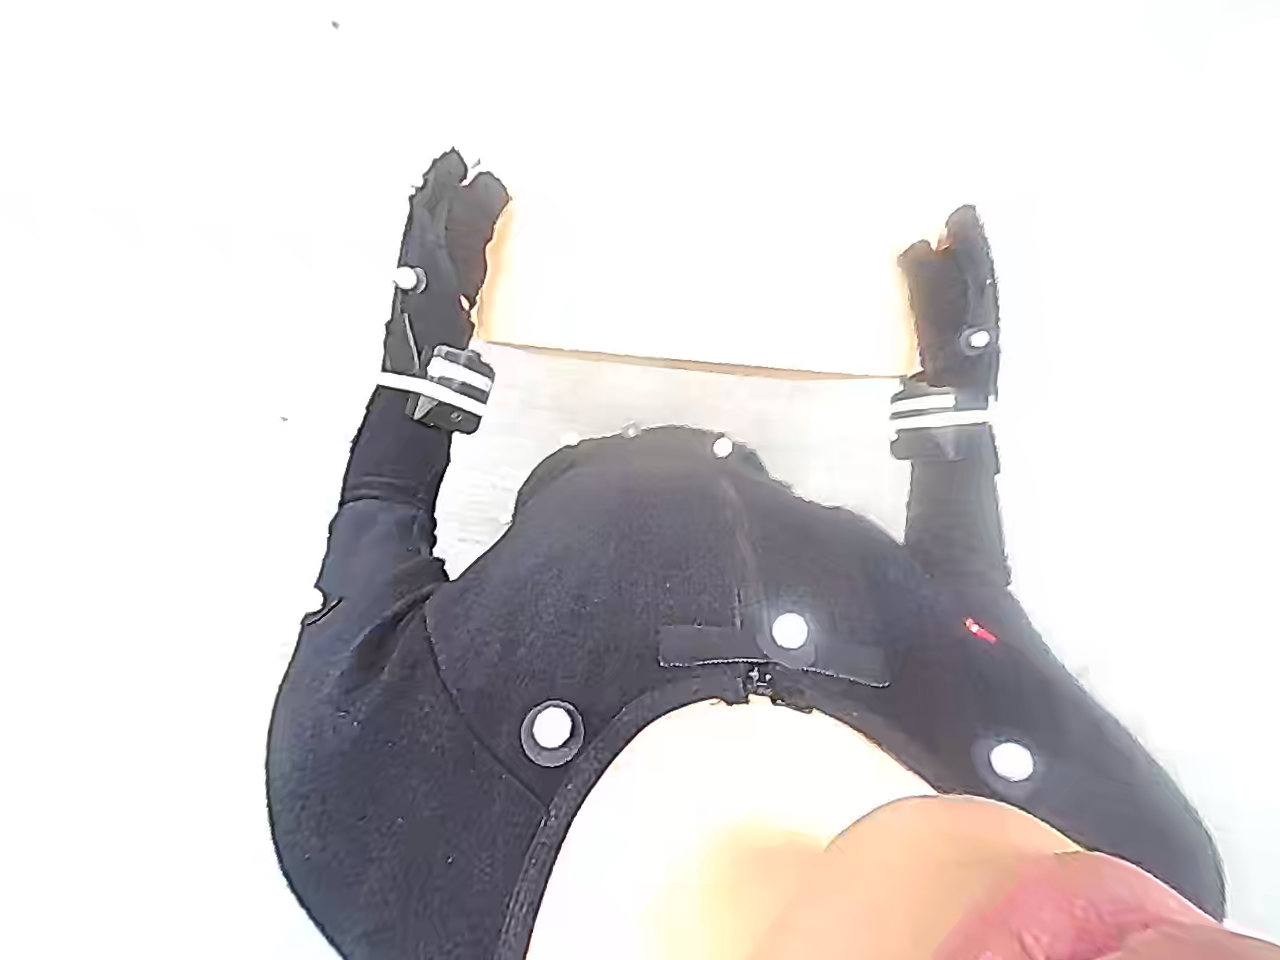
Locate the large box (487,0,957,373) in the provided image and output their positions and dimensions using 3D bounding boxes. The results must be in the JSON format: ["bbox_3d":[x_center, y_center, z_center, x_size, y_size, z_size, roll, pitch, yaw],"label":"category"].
[{"bbox_3d":[0.061,-0.295,0.627,0.408,0.320,0.320,4,101,-1],"label":"large box"}]
